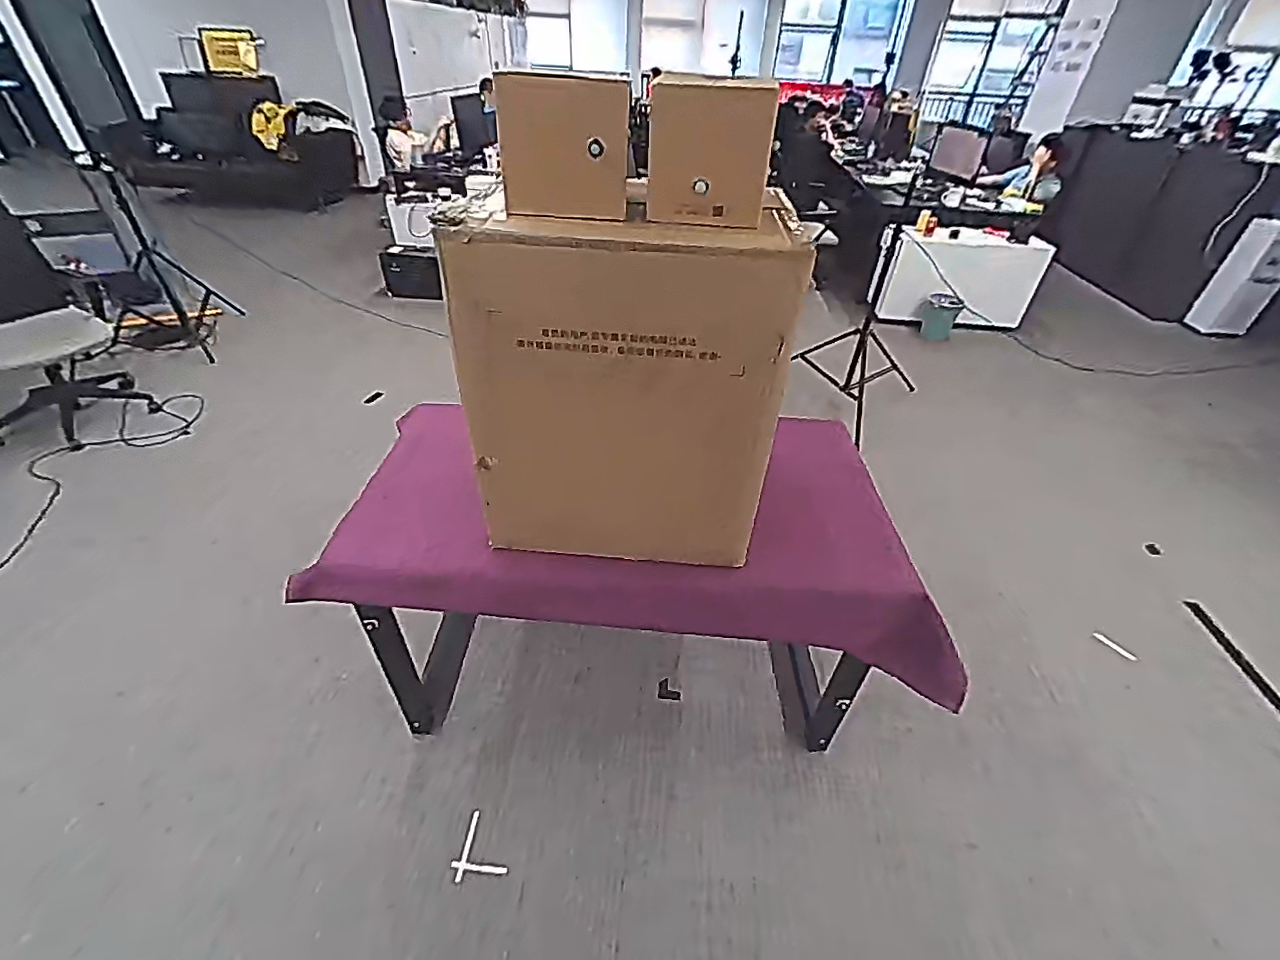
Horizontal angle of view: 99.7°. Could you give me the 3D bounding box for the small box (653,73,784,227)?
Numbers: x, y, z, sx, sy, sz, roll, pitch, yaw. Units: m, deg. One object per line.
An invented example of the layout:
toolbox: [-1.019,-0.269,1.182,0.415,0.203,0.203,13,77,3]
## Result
small box: [0.111,-0.487,0.795,0.168,0.176,0.179,6,39,6]

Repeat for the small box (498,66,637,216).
small box: [-0.098,-0.494,0.791,0.179,0.176,0.168,1,37,-3]
